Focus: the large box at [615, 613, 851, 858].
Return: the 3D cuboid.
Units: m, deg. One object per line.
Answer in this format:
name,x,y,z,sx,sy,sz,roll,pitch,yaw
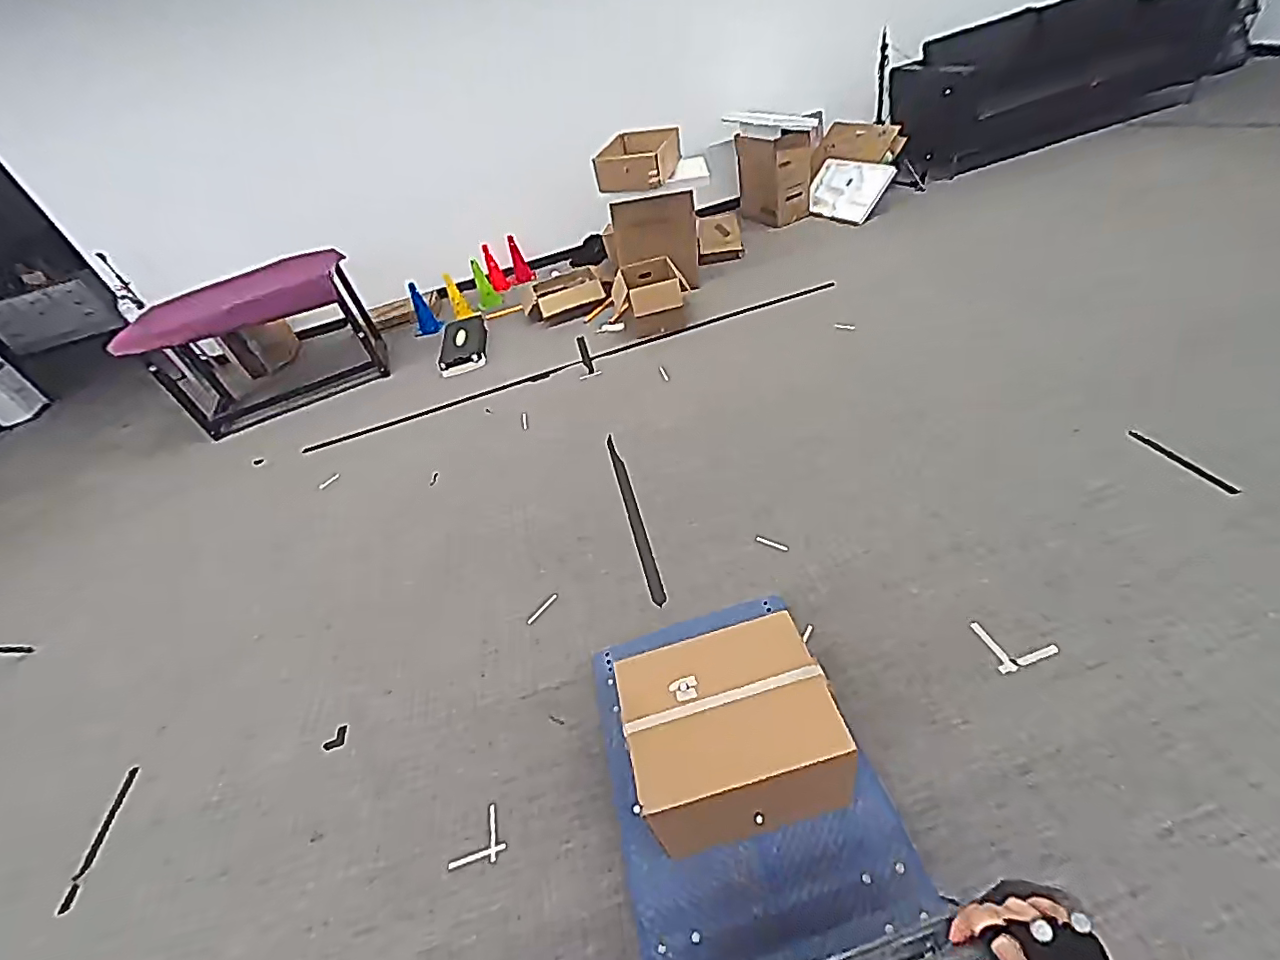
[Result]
large box,0.198,0.558,1.184,0.408,0.320,0.320,-18,40,0
